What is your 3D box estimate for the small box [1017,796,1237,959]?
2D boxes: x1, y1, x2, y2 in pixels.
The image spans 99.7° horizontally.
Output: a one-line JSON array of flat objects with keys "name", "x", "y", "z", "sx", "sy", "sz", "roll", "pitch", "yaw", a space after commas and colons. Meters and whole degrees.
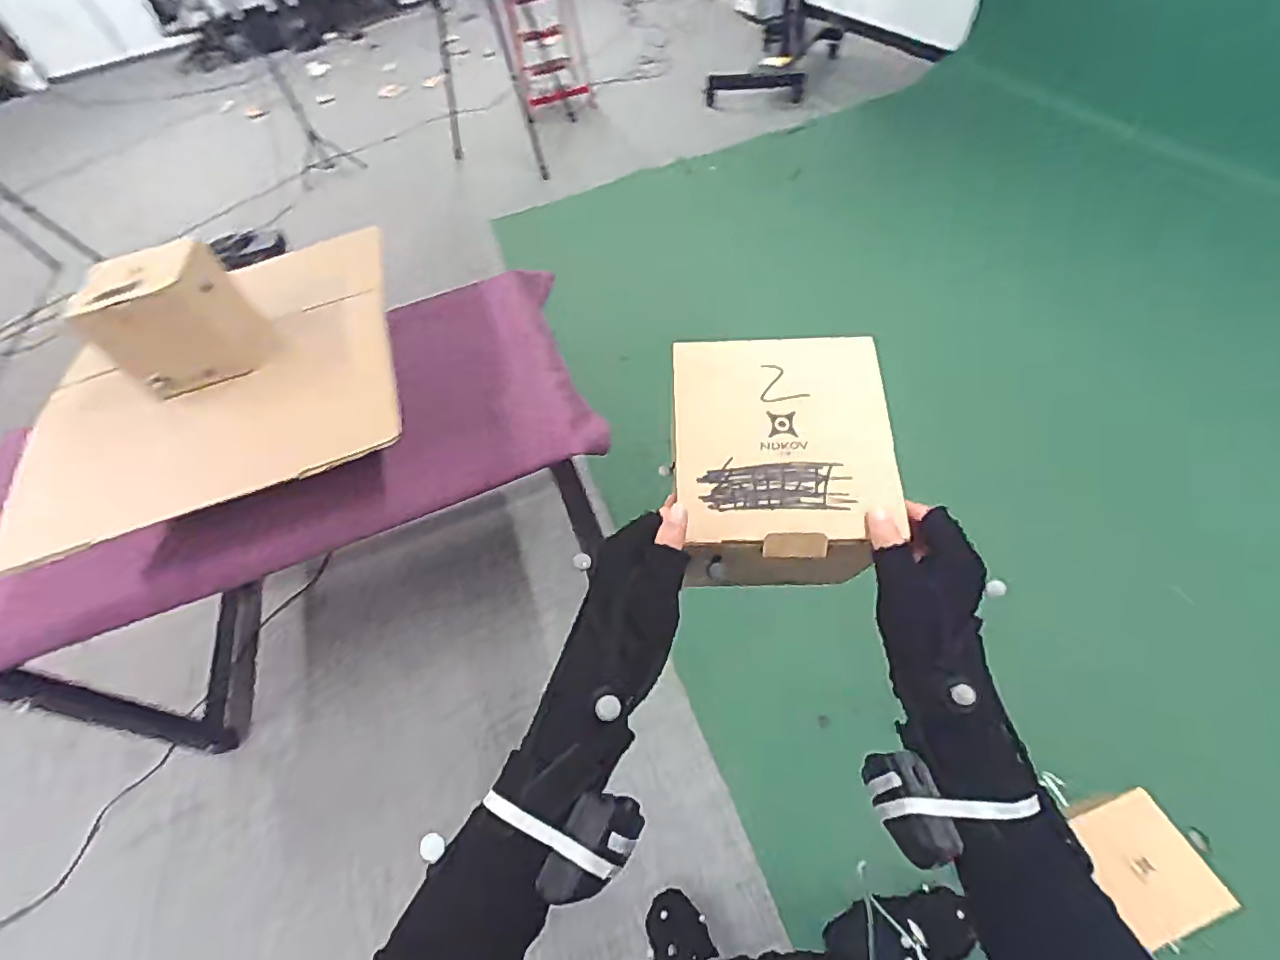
[{"name": "small box", "x": 0.781, "y": 0.649, "z": 0.894, "sx": 0.179, "sy": 0.176, "sz": 0.168, "roll": -21, "pitch": 53, "yaw": -5}]

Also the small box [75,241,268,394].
[{"name": "small box", "x": -0.772, "y": -0.267, "z": 0.917, "sx": 0.168, "sy": 0.176, "sz": 0.179, "roll": -19, "pitch": 51, "yaw": -4}]
